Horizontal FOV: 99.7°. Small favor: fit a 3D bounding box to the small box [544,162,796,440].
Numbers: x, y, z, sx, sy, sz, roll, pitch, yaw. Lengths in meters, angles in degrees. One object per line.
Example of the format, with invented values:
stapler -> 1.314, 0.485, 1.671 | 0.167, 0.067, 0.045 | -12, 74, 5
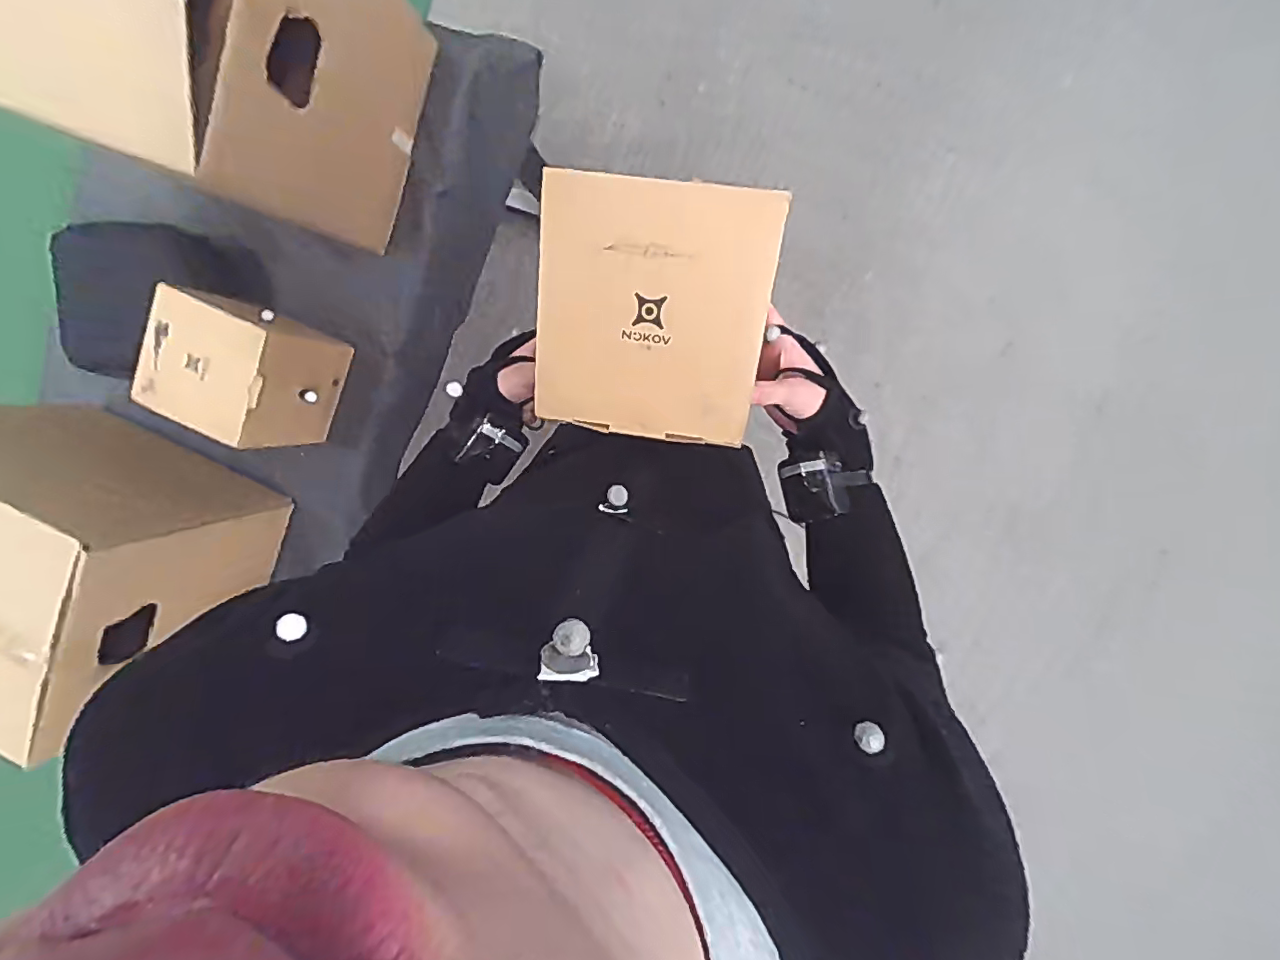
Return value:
small box -> 0.024, -0.152, 0.463 | 0.168, 0.176, 0.179 | 9, 112, 4
